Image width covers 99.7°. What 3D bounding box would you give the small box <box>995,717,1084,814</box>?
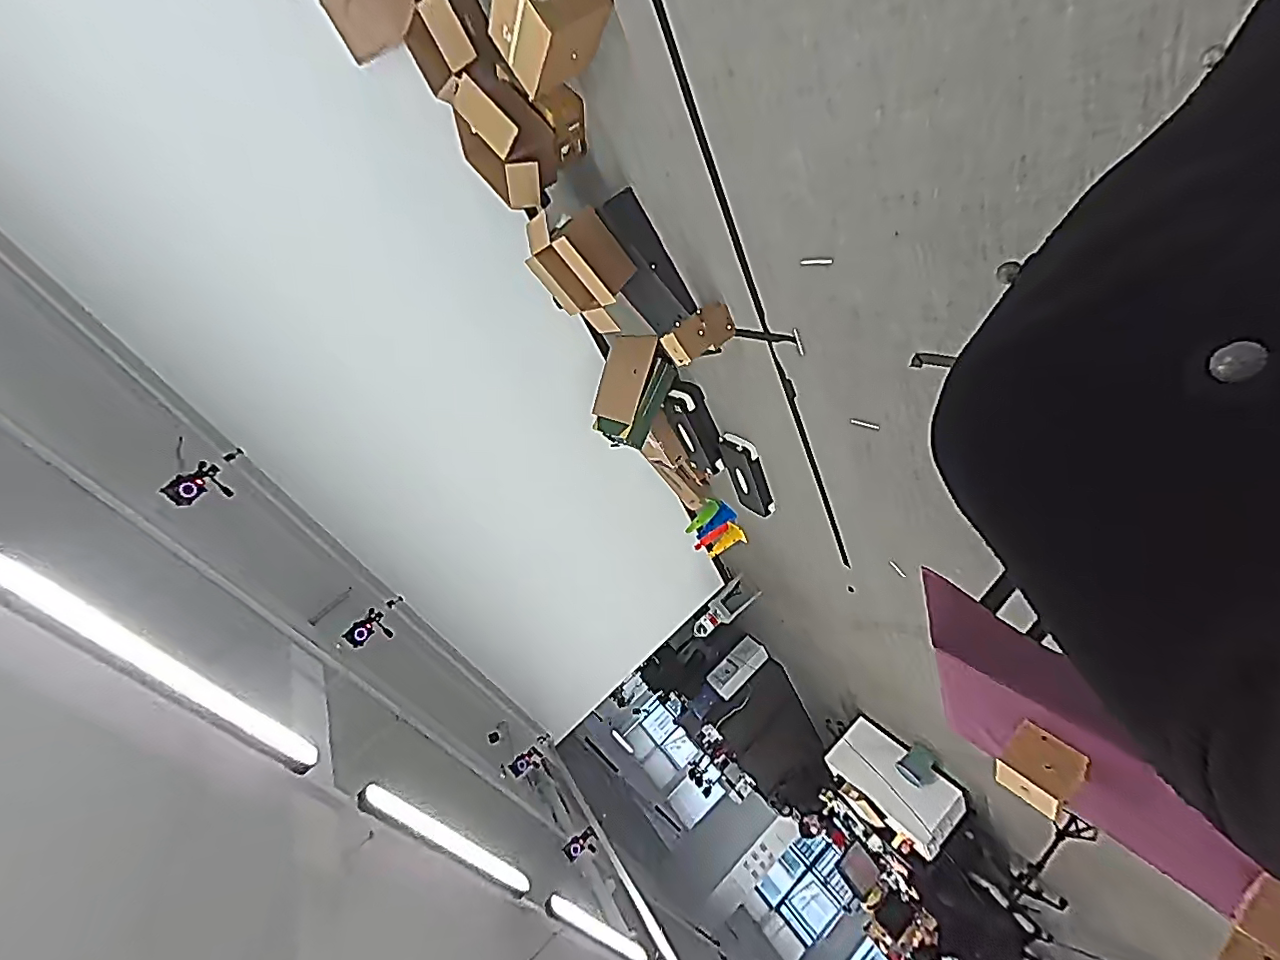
[{"bbox_3d":[1.210,0.860,1.640,0.168,0.176,0.179,31,157,50],"label":"small box"}]

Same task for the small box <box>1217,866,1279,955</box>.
[{"bbox_3d":[1.495,1.038,1.243,0.168,0.176,0.179,32,157,50],"label":"small box"}]

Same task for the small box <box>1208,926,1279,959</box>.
[{"bbox_3d":[1.381,1.150,1.204,0.168,0.176,0.179,29,155,54],"label":"small box"}]
